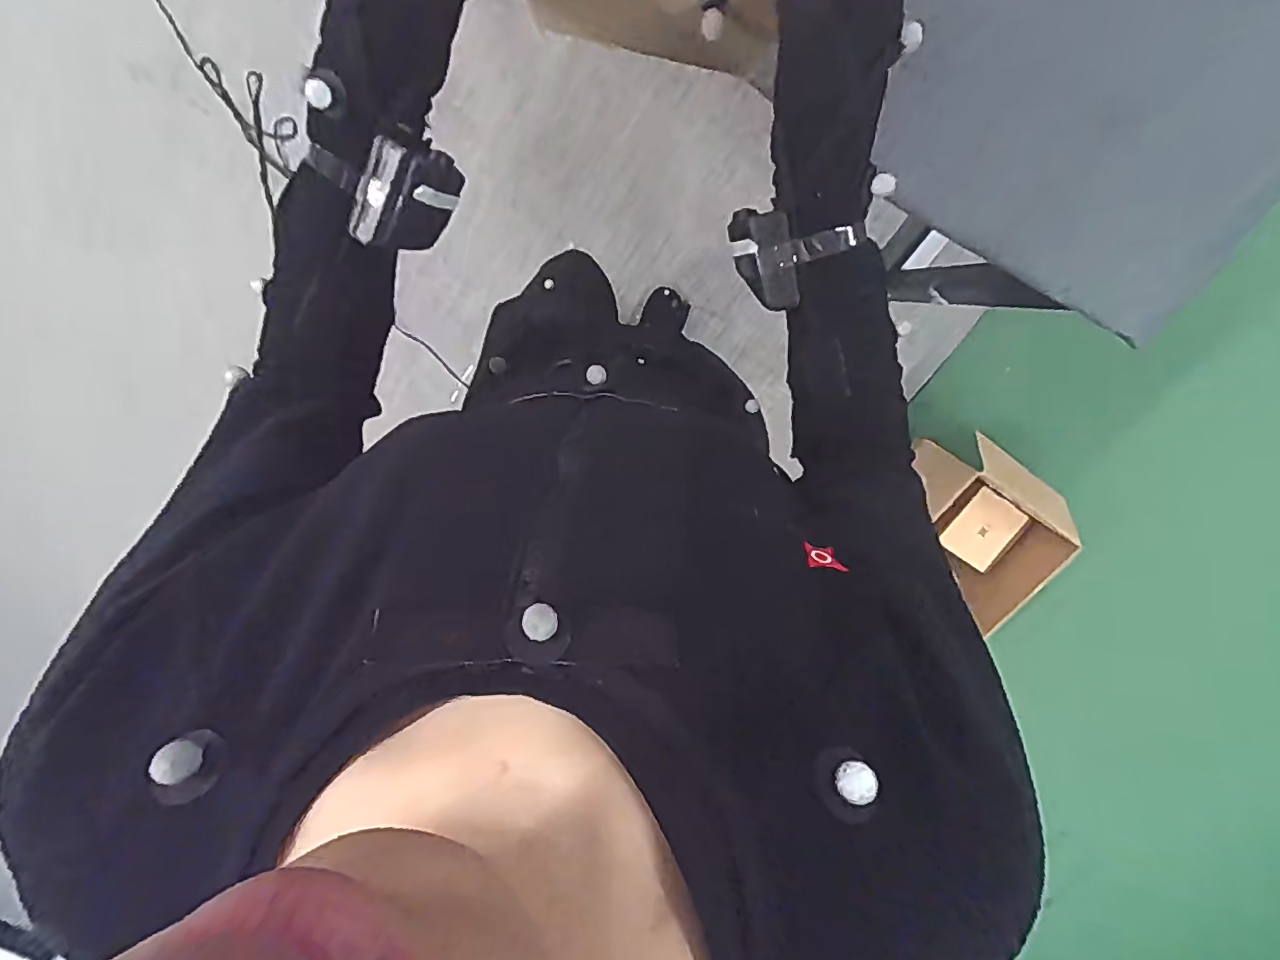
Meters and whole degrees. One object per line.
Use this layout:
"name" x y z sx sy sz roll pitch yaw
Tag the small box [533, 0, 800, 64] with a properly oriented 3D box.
"small box" 0.021 -0.380 0.320 0.179 0.176 0.168 10 113 -5
